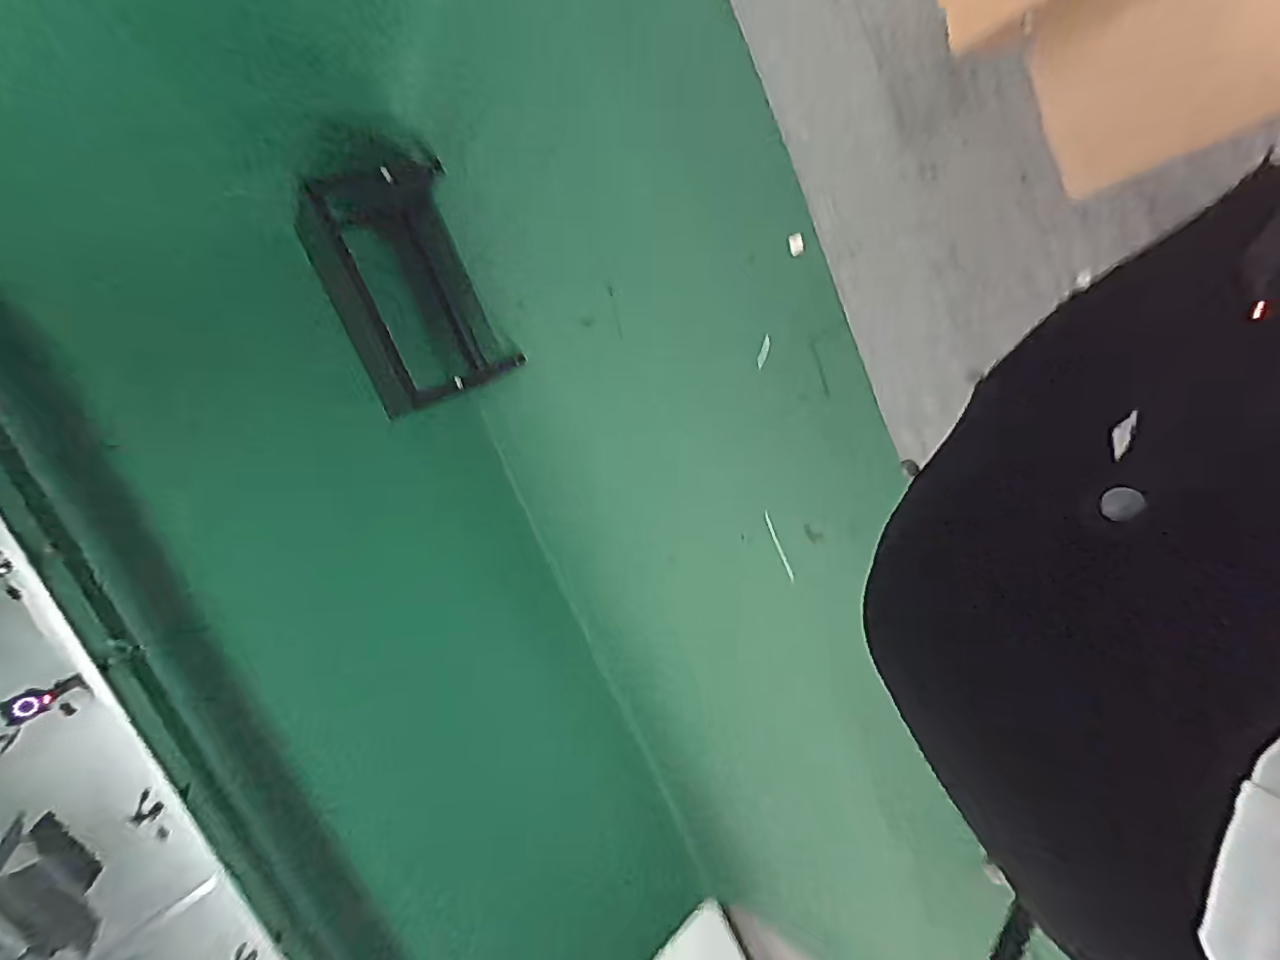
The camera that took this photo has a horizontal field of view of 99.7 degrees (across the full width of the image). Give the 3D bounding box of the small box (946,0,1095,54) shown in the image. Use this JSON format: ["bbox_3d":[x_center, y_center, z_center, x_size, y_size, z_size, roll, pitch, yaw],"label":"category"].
[{"bbox_3d":[0.543,-0.724,0.739,0.179,0.176,0.168,-1,114,55],"label":"small box"}]
